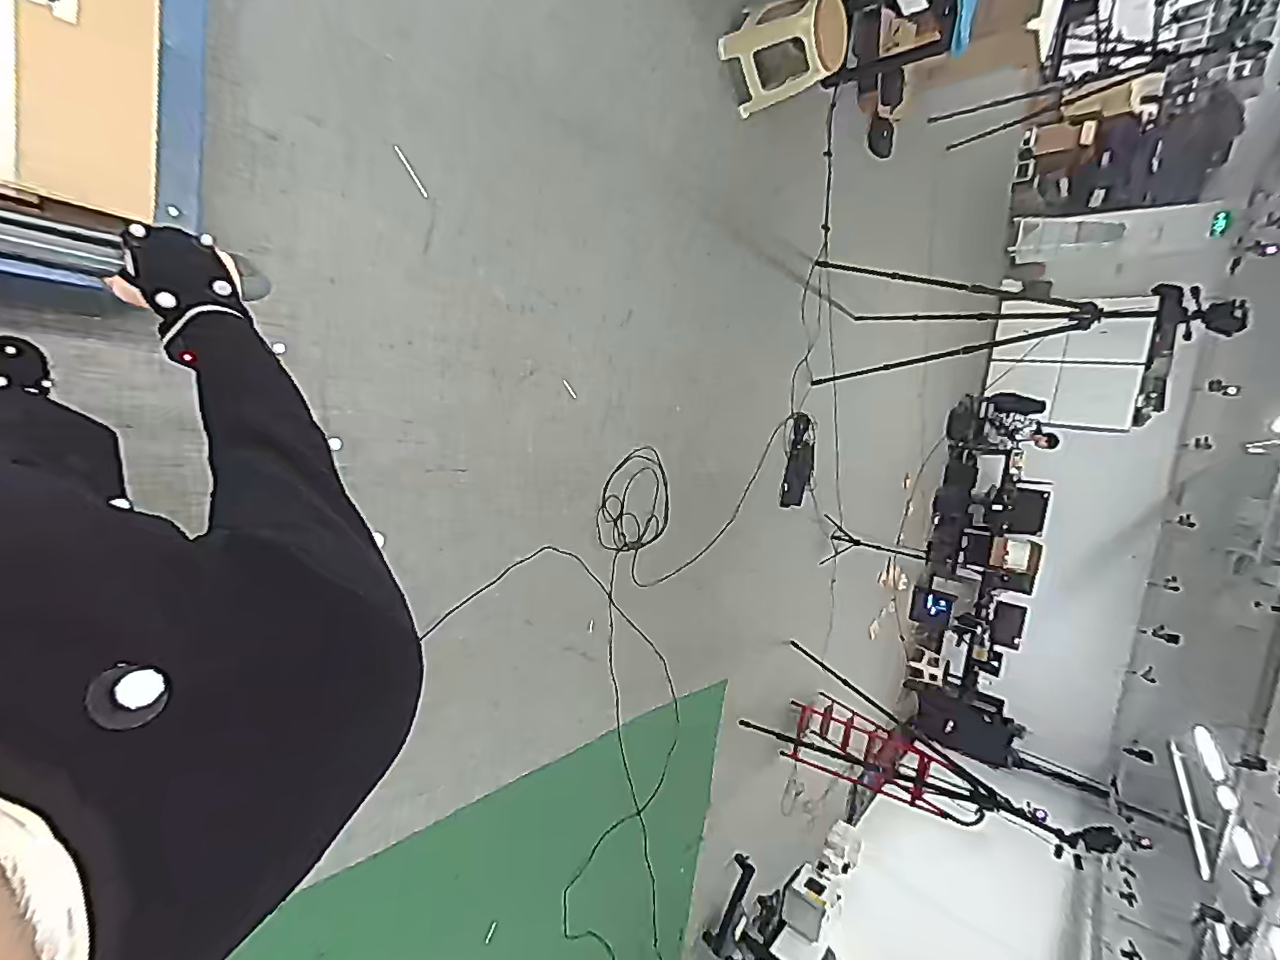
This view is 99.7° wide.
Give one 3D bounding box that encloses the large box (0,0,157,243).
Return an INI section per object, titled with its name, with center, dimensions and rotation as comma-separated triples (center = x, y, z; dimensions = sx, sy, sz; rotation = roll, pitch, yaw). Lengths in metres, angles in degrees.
[large box]
center = -0.954, -0.619, 0.806
dimensions = 0.320, 0.320, 0.408
rotation = -2, 100, -49
